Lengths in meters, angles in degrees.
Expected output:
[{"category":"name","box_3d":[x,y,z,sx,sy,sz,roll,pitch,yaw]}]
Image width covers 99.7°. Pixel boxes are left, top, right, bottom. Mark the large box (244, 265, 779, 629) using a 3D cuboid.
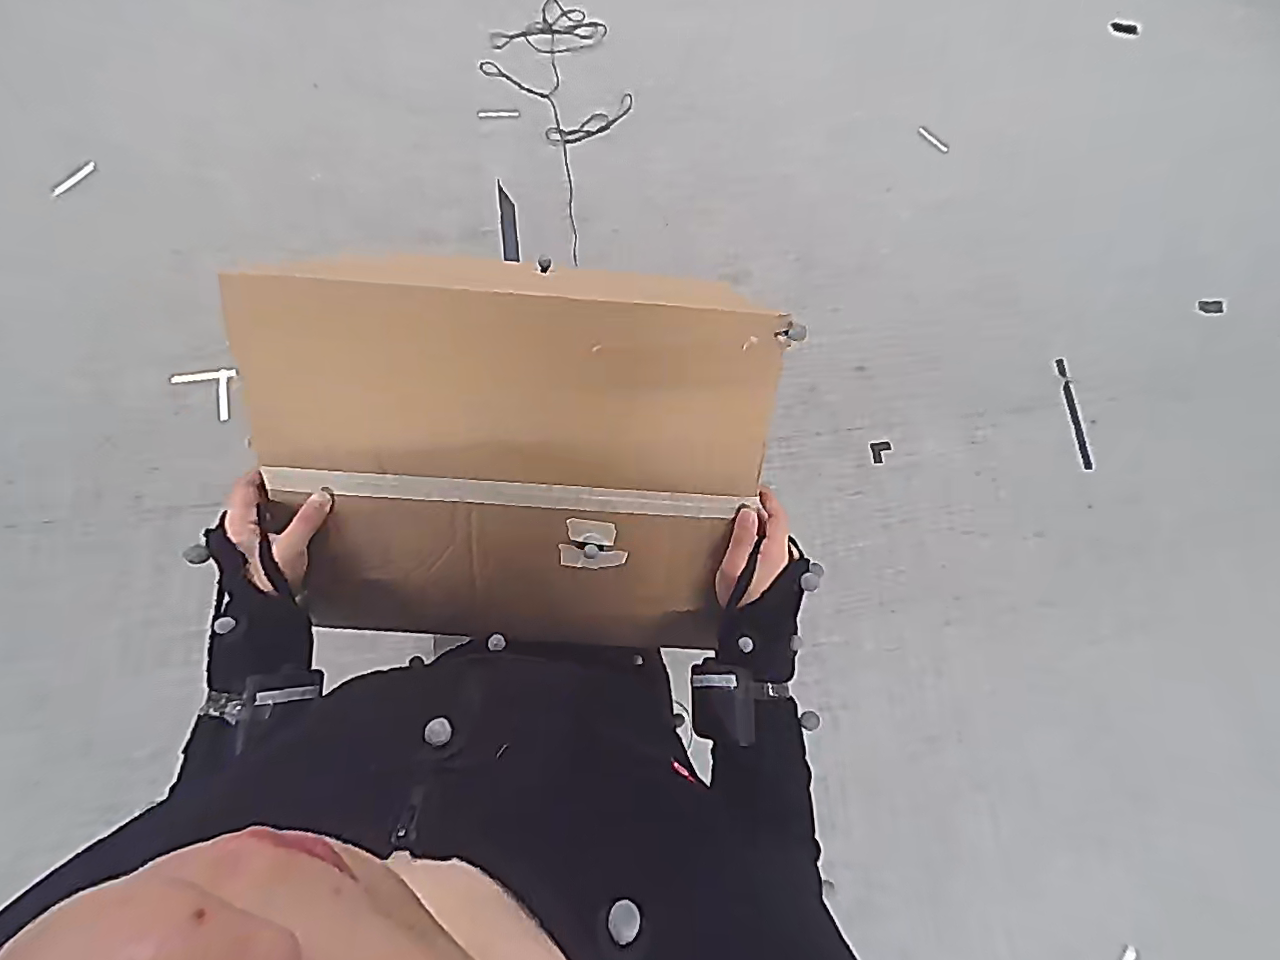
[{"category":"large box","box_3d":[-0.105,-0.059,0.596,0.408,0.320,0.320,3,116,-3]}]
